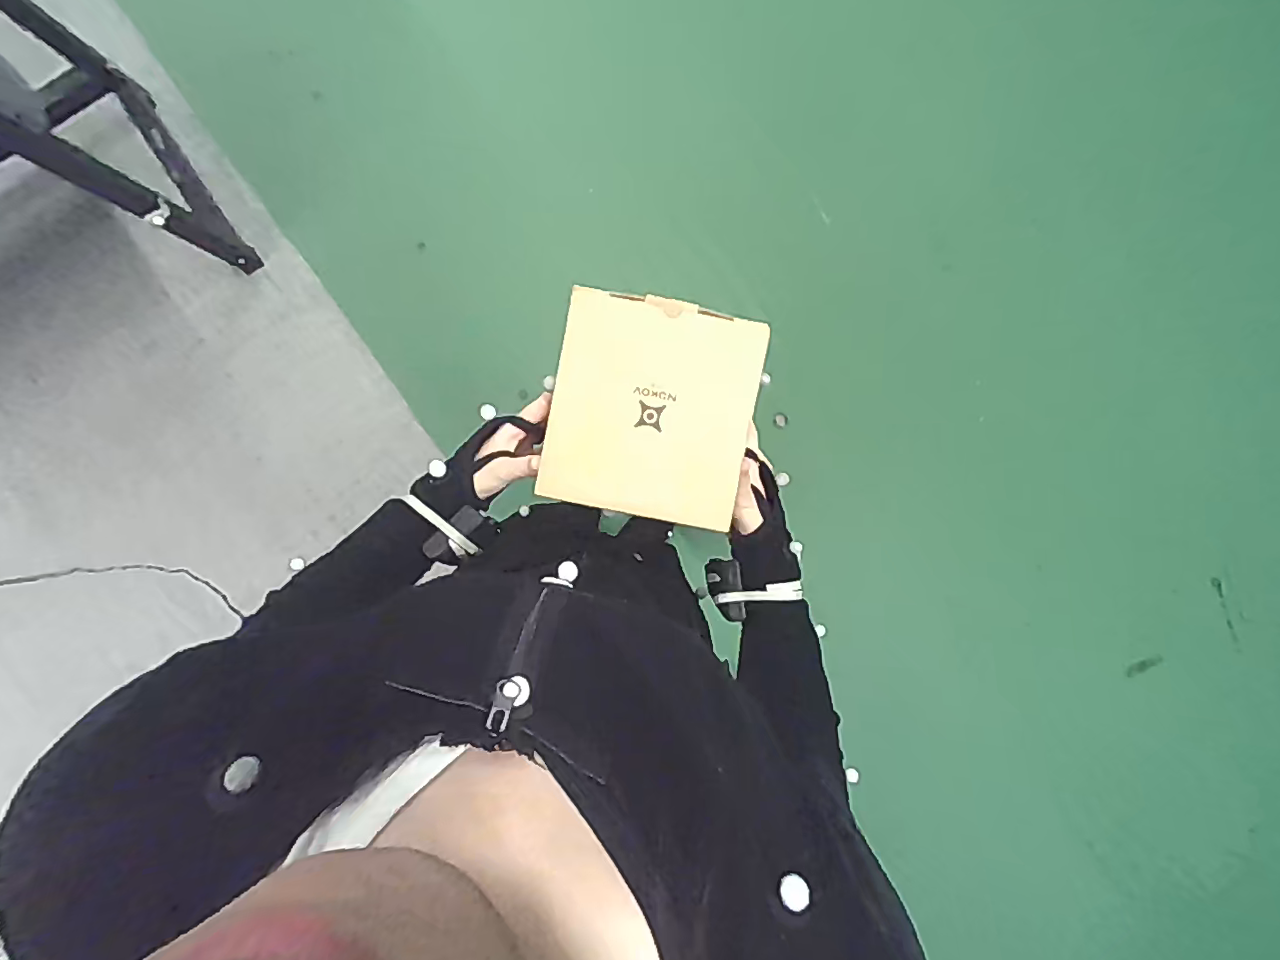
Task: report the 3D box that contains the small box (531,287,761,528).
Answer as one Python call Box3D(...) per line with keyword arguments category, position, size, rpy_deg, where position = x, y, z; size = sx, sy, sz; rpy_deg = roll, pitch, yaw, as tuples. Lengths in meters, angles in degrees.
Box3D(category="small box", position=(0.005, -0.062, 0.527), size=(0.168, 0.176, 0.179), rpy_deg=(11, 91, -1))

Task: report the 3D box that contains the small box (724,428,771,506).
Box3D(category="small box", position=(0.173, -0.037, 1.275), size=(0.179, 0.176, 0.168), rpy_deg=(-37, 91, -1))
